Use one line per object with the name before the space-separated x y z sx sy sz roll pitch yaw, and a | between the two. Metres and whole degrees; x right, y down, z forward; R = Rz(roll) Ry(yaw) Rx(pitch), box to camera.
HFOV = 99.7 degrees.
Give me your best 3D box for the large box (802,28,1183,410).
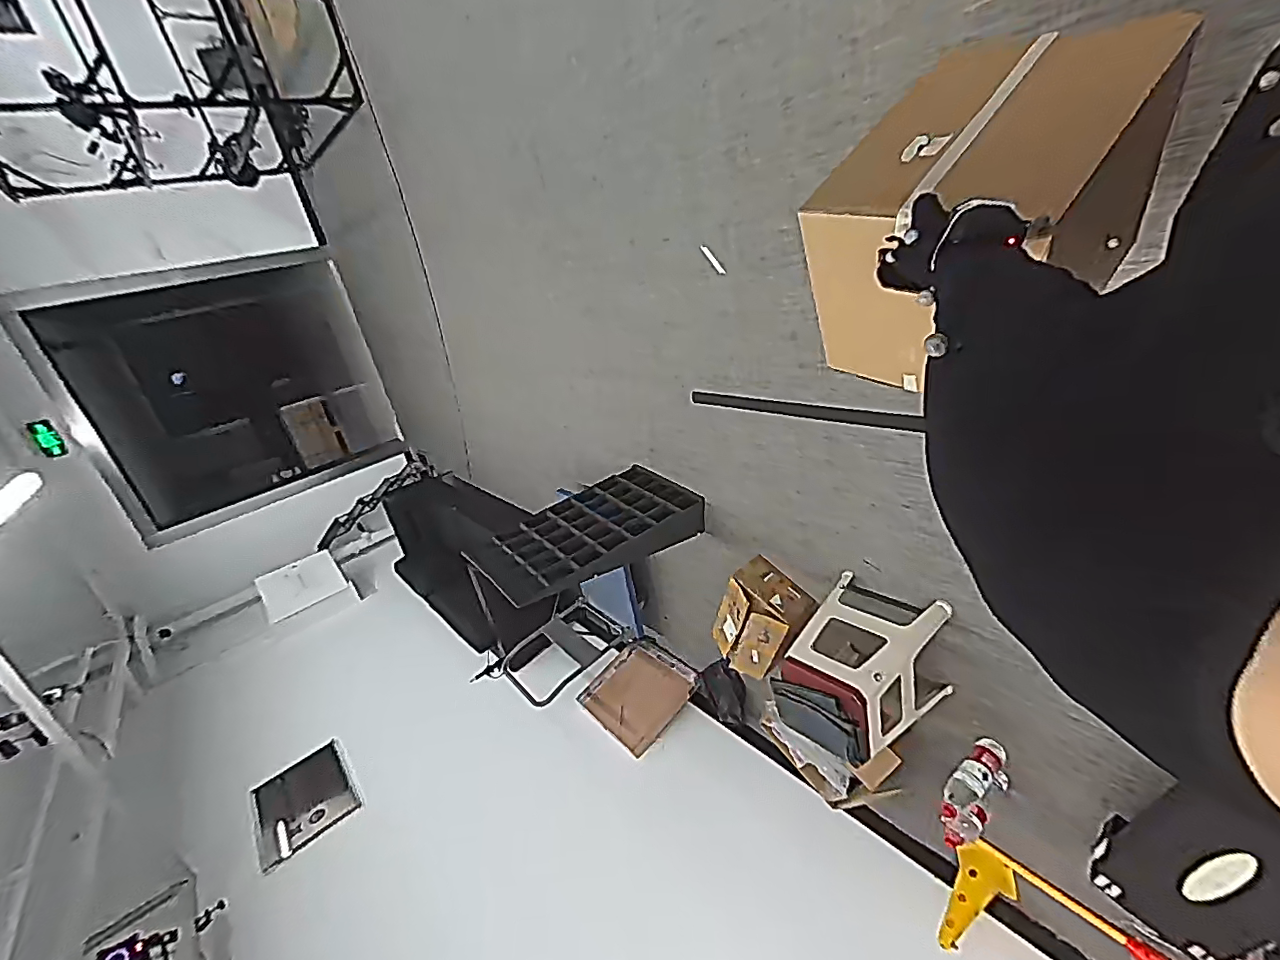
large box | 0.512 -0.384 0.830 0.320 0.408 0.320 29 164 41
